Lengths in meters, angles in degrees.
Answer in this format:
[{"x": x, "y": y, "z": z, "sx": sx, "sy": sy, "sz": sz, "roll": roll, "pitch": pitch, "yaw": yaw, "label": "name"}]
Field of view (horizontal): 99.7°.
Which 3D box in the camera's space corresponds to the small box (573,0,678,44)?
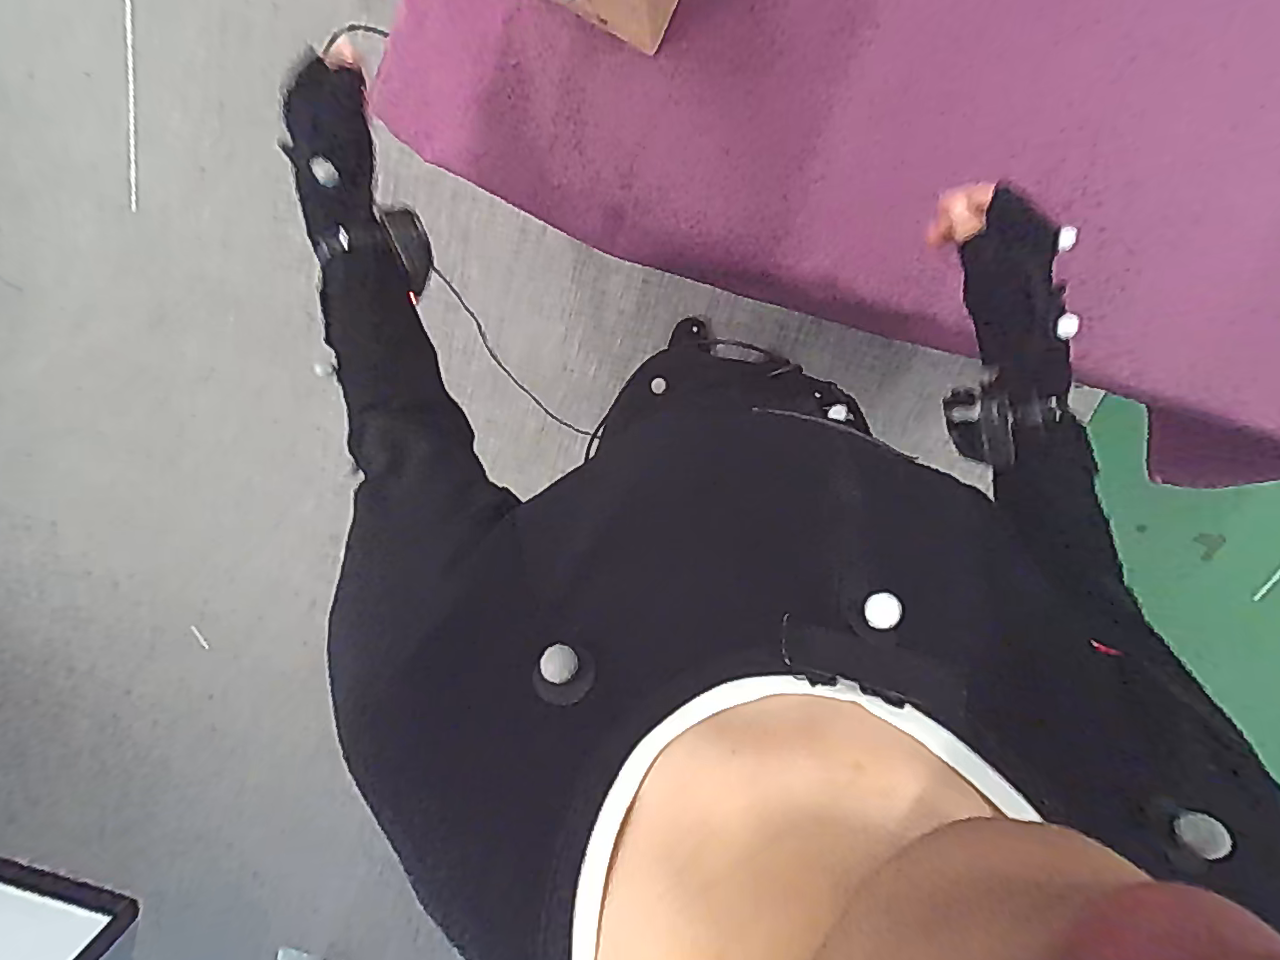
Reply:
[{"x": -0.024, "y": -0.550, "z": 0.485, "sx": 0.168, "sy": 0.176, "sz": 0.179, "roll": 27, "pitch": 109, "yaw": -4, "label": "small box"}]
